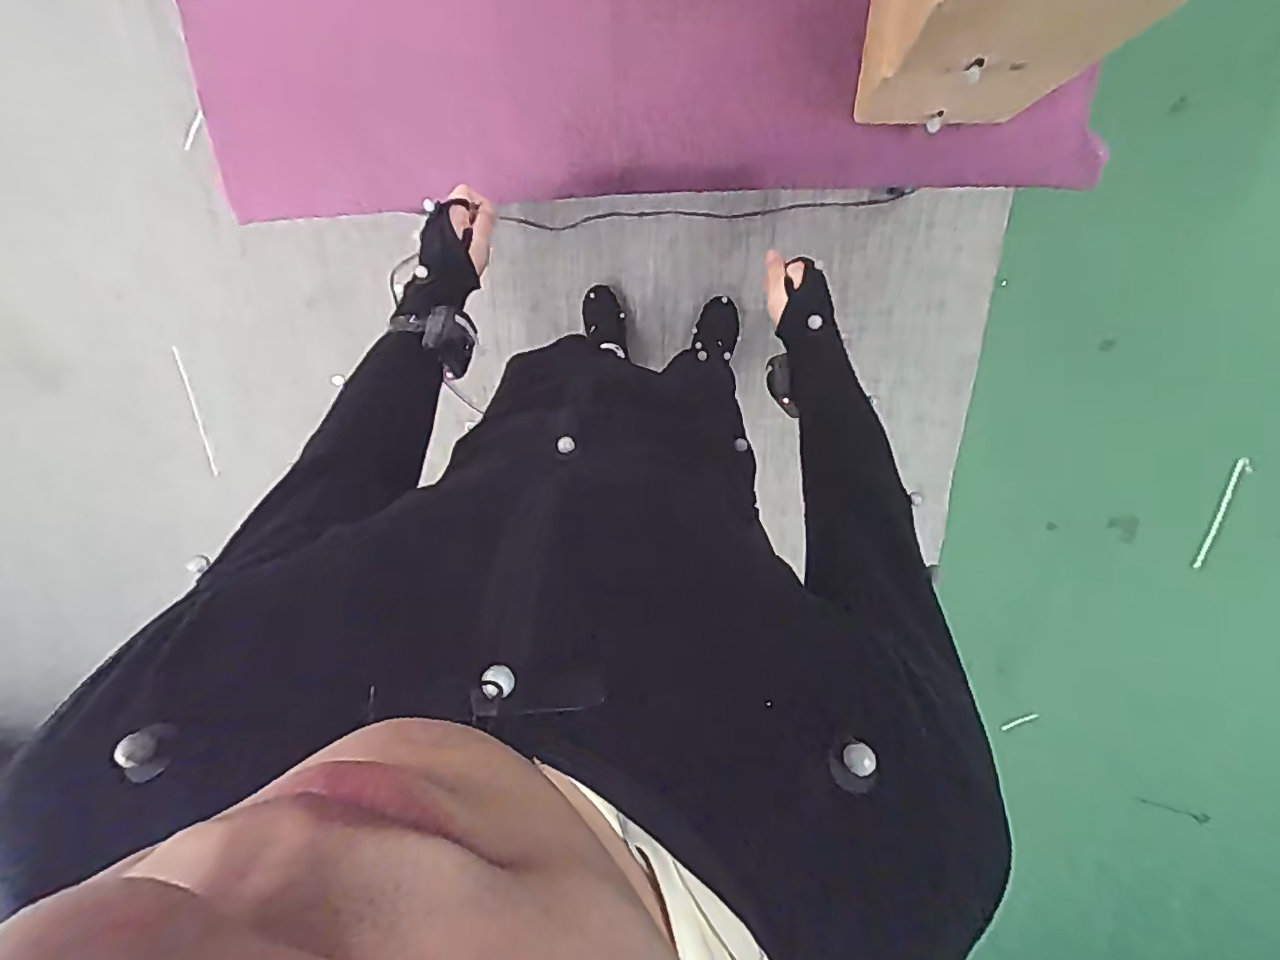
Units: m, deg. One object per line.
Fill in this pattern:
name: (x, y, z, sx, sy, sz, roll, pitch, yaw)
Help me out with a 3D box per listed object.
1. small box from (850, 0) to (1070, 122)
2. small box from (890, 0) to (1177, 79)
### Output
small box: (0.335, -0.490, 0.562, 0.179, 0.176, 0.168, 7, 111, 10)
small box: (0.305, -0.437, 0.409, 0.168, 0.176, 0.179, 7, 112, 11)
